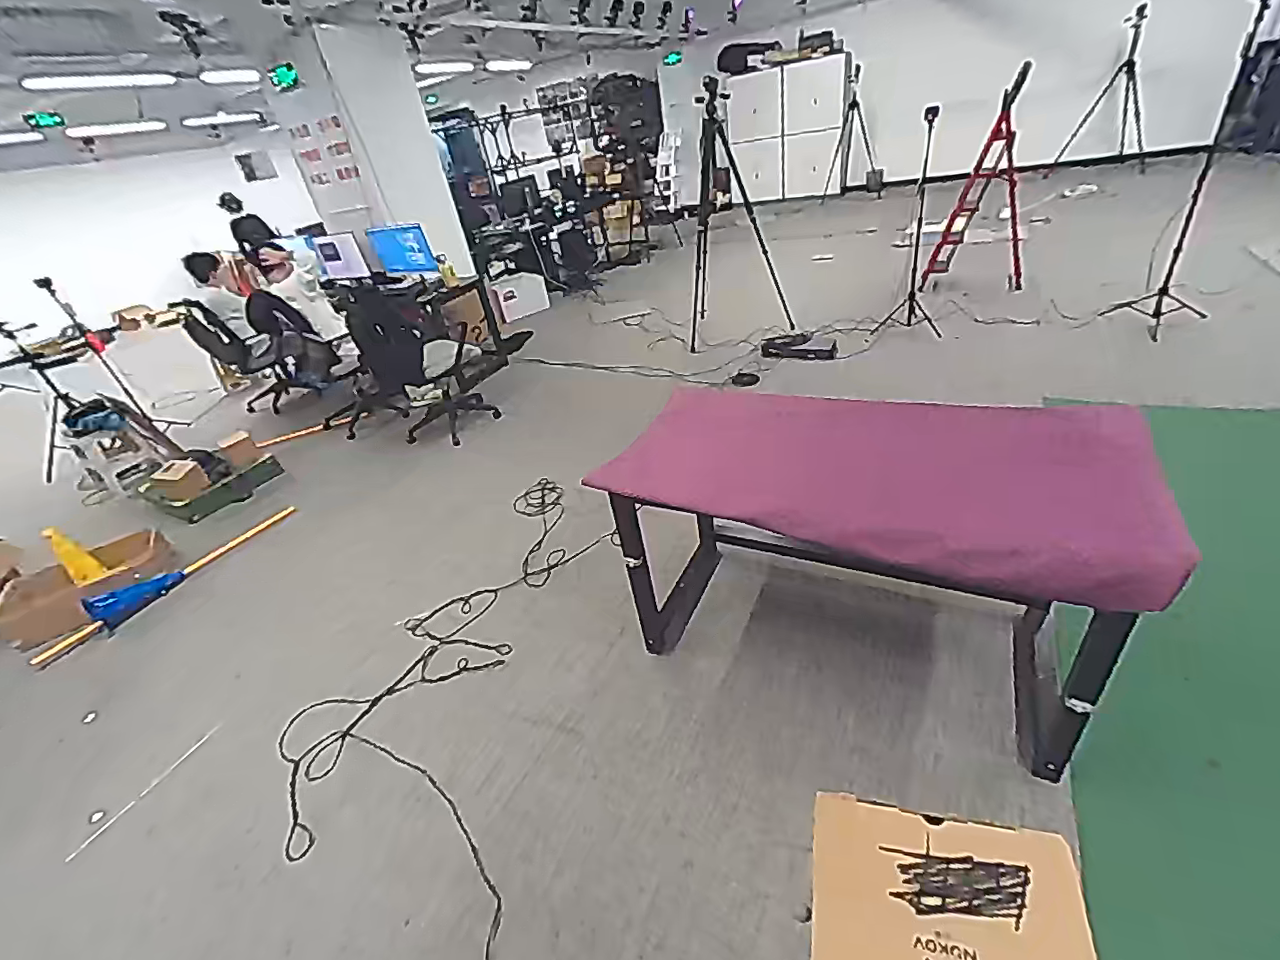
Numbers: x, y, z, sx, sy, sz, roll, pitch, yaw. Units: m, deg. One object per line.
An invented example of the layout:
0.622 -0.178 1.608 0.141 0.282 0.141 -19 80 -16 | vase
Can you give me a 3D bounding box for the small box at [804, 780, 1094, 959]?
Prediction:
0.206 0.348 0.392 0.168 0.176 0.179 0 50 20 | small box
